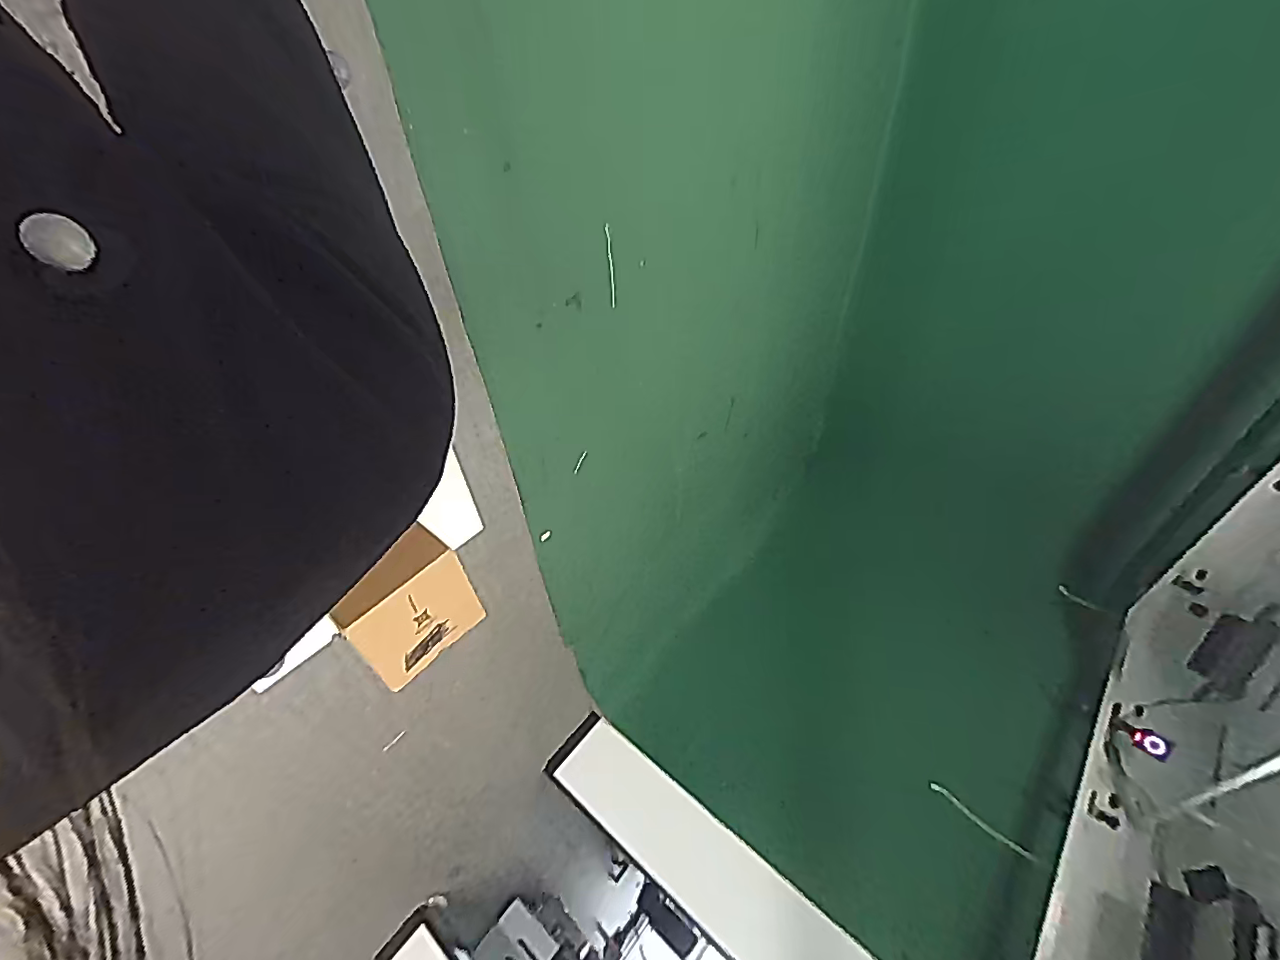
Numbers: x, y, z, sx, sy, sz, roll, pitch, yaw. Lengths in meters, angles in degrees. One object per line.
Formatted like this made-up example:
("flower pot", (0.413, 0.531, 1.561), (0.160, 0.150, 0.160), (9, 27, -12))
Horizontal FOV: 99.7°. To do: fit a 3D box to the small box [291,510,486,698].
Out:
("small box", (-0.363, 0.176, 0.795), (0.168, 0.176, 0.179), (-42, 146, -28))
